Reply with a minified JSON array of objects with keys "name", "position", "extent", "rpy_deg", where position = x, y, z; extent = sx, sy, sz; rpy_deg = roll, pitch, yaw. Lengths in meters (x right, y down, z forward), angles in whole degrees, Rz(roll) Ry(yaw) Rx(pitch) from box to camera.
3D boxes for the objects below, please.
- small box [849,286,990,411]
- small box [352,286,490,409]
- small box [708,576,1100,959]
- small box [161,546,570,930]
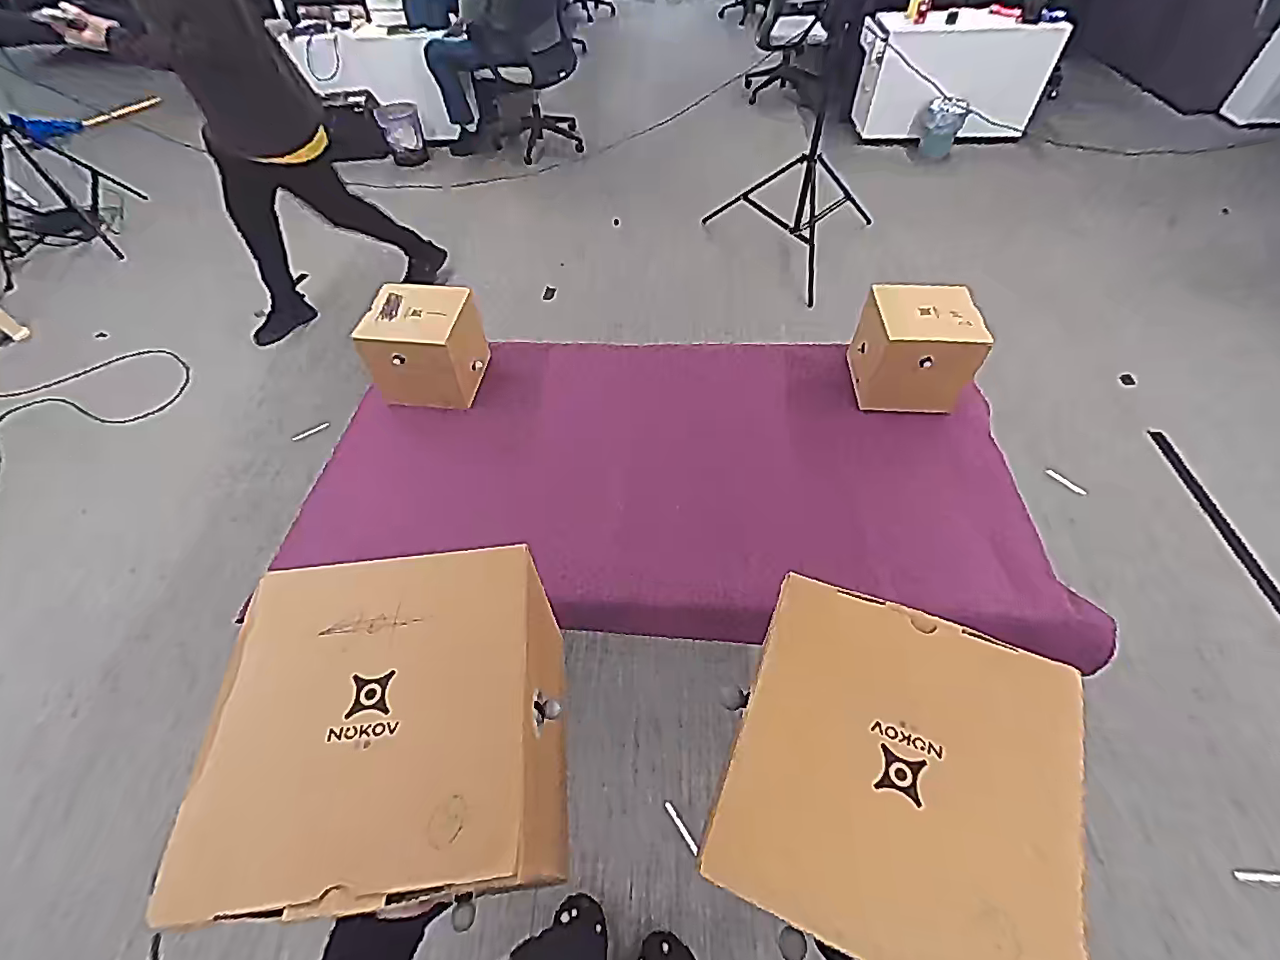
[{"name":"small box","position":[0.509,-0.245,1.020],"extent":[0.179,0.176,0.168],"rpy_deg":[3,53,3]},{"name":"small box","position":[-0.414,-0.256,1.057],"extent":[0.179,0.176,0.168],"rpy_deg":[5,54,4]},{"name":"small box","position":[0.146,0.195,0.345],"extent":[0.168,0.176,0.179],"rpy_deg":[15,54,16]},{"name":"small box","position":[-0.139,0.167,0.355],"extent":[0.168,0.176,0.179],"rpy_deg":[-6,53,-4]}]
